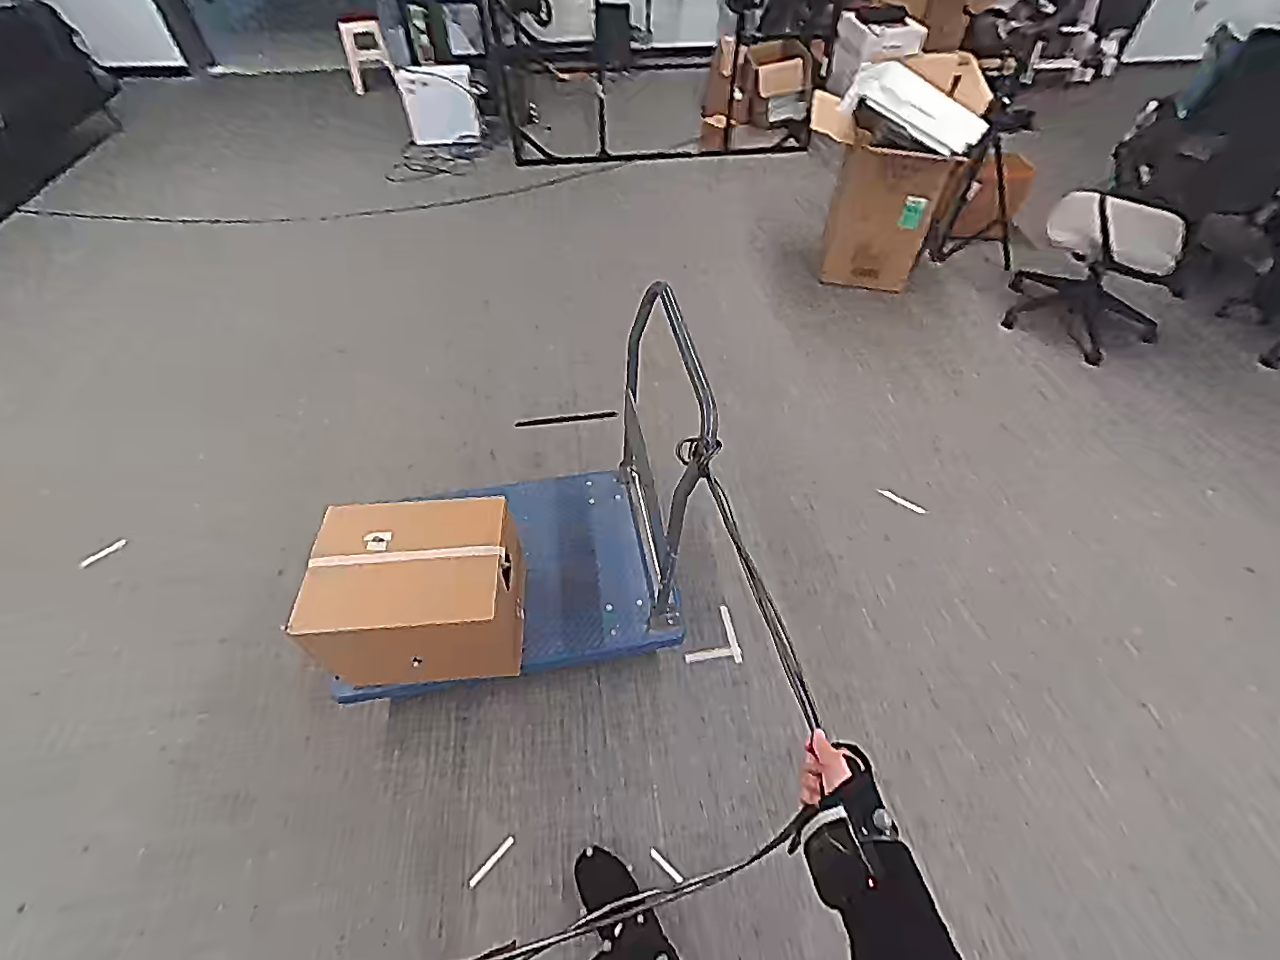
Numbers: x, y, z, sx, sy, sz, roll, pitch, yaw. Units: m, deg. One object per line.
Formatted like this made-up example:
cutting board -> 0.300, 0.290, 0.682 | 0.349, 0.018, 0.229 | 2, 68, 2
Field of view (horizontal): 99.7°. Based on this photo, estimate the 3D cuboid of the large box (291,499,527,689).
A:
large box -> -0.488, 0.271, 1.259 | 0.408, 0.320, 0.320 | -4, 50, -3
